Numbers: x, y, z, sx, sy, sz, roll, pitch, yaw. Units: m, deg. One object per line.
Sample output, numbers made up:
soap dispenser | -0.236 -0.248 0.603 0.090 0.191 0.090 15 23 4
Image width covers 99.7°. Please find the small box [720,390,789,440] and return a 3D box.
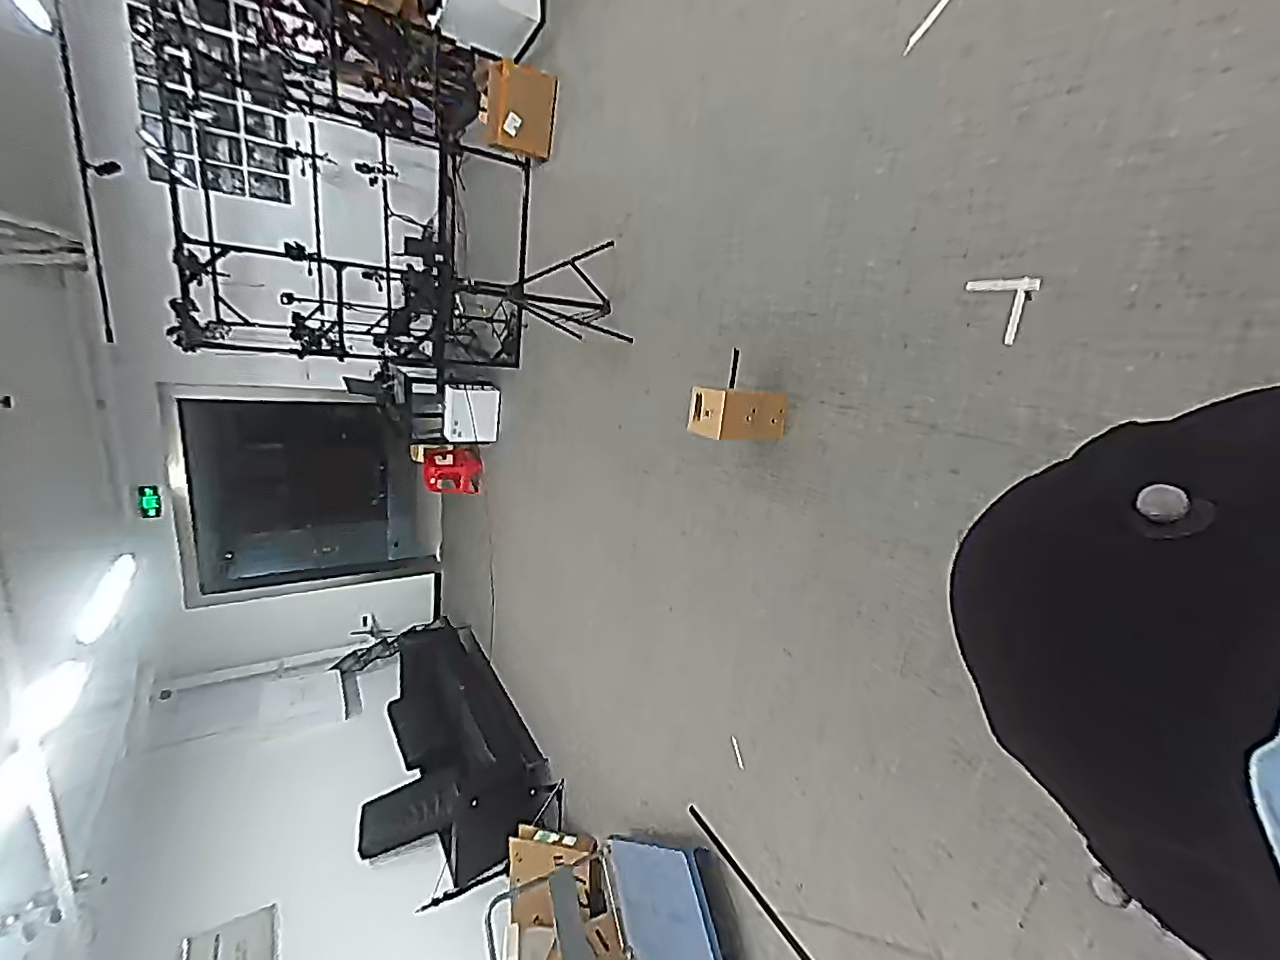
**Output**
small box | 0.426 -0.242 2.013 0.179 0.176 0.168 21 111 55
